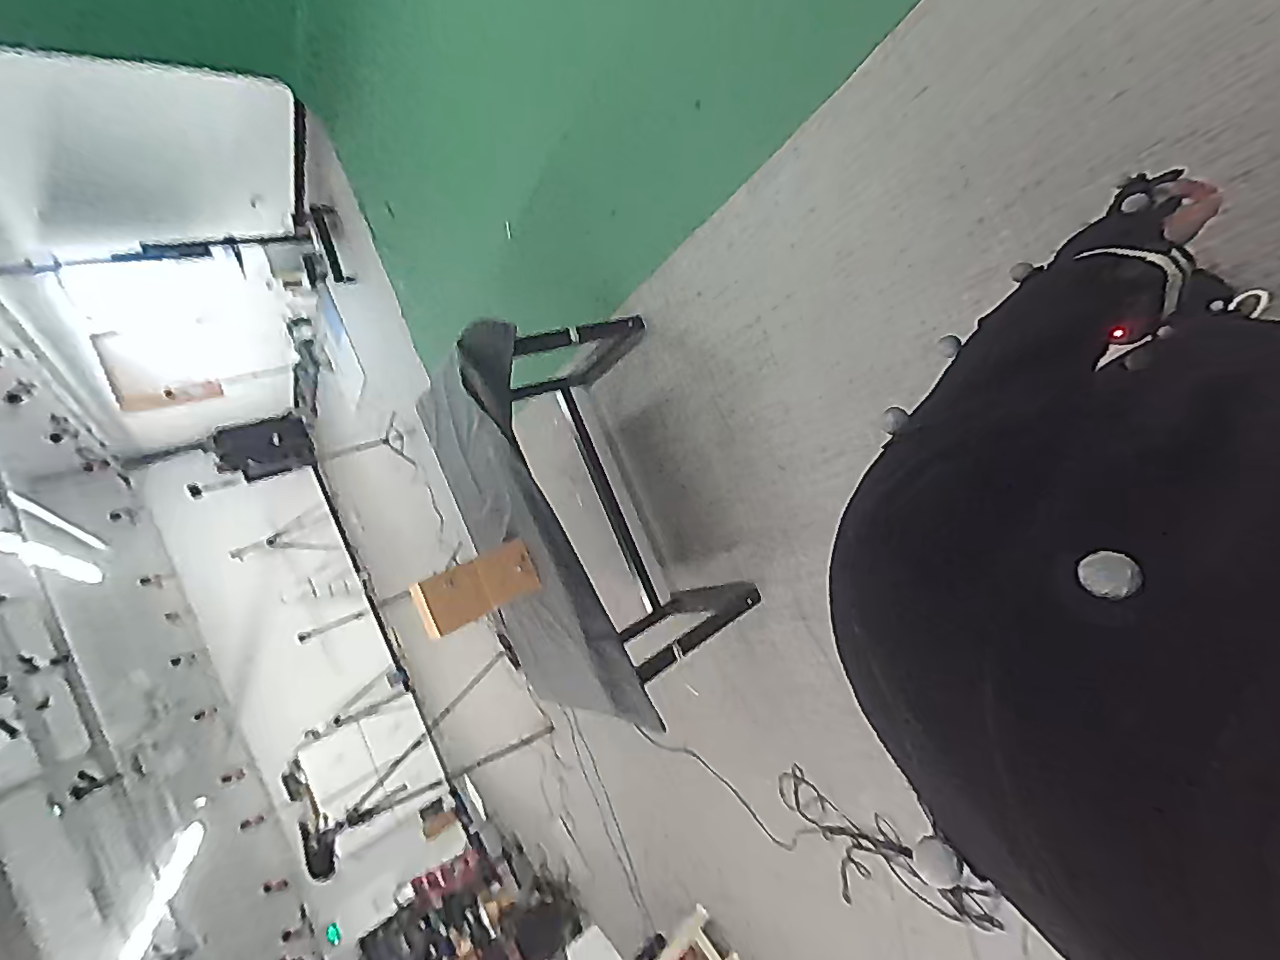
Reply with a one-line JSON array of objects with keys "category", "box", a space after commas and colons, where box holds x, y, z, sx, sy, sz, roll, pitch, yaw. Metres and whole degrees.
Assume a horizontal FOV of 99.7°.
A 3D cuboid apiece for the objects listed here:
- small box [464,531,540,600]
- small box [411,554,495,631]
[{"category": "small box", "box": [-0.444, 0.276, 1.723, 0.179, 0.176, 0.168, -25, 89, 54]}, {"category": "small box", "box": [-0.563, 0.334, 1.628, 0.168, 0.176, 0.179, -27, 88, 56]}]
